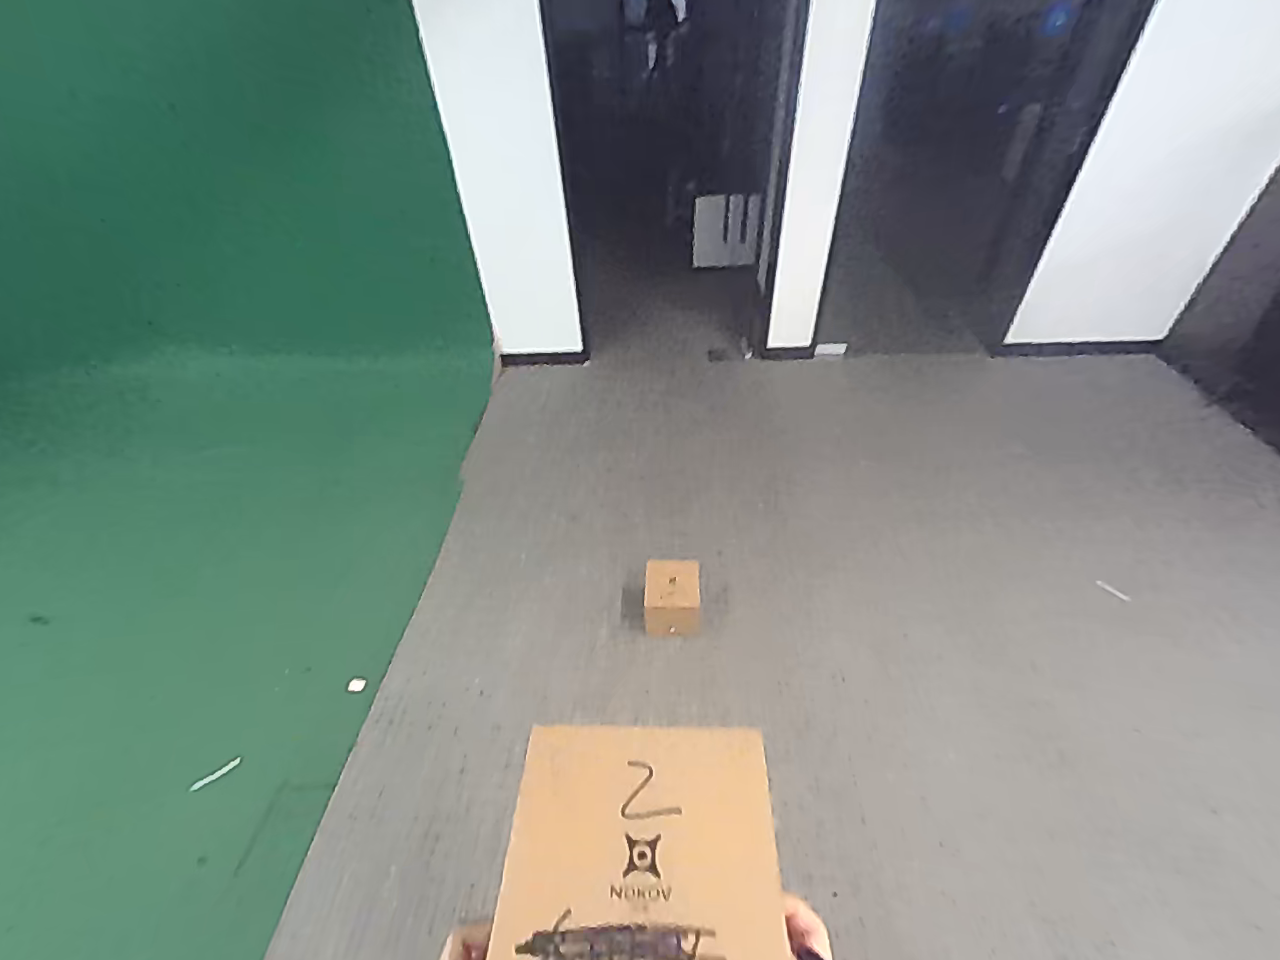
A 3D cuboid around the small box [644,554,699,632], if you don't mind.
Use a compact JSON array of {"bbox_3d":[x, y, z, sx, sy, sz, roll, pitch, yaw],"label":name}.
[{"bbox_3d":[0.100,0.353,1.694,0.168,0.176,0.179,0,44,5],"label":"small box"}]
